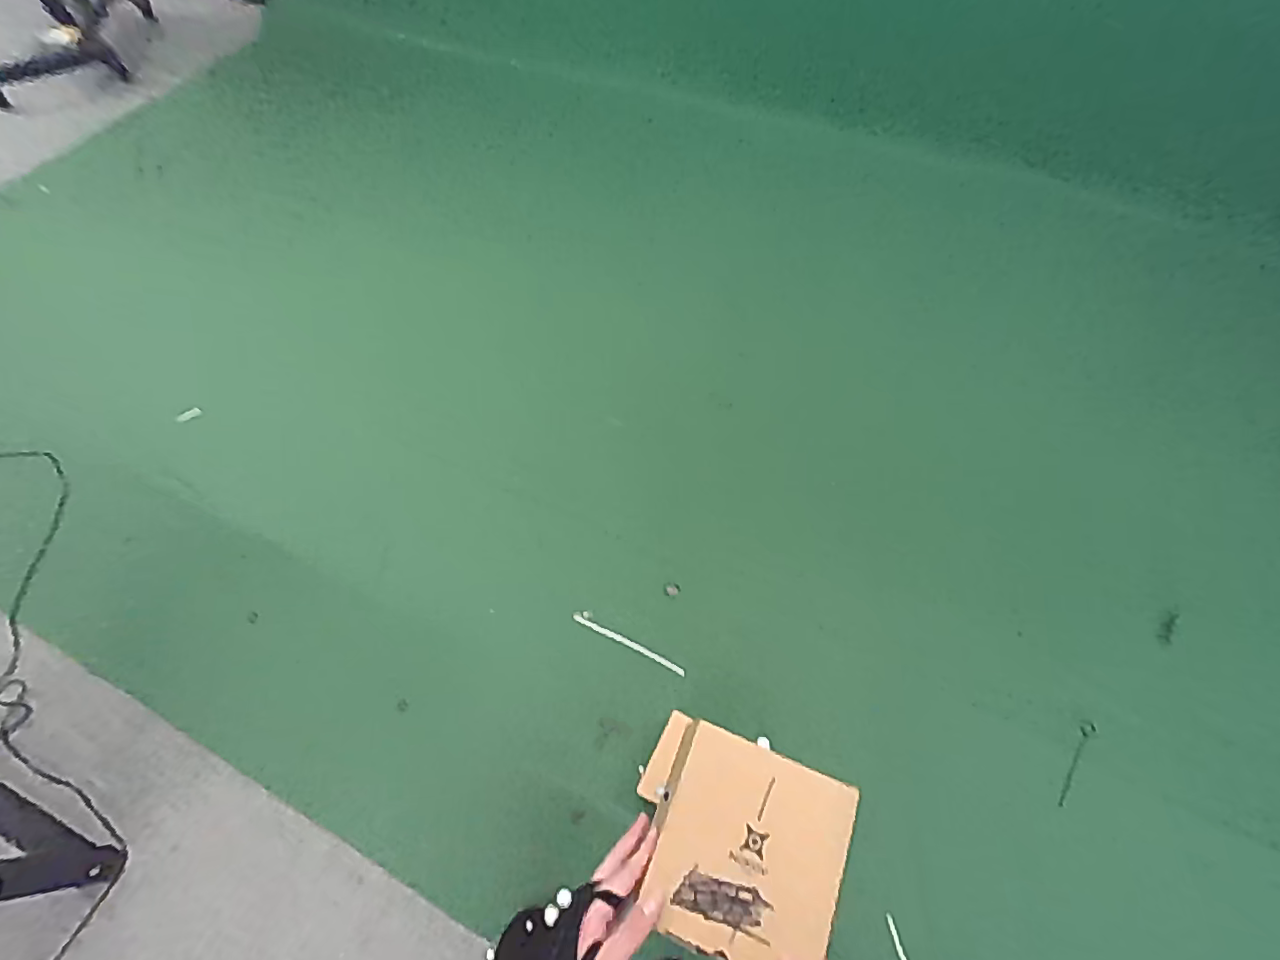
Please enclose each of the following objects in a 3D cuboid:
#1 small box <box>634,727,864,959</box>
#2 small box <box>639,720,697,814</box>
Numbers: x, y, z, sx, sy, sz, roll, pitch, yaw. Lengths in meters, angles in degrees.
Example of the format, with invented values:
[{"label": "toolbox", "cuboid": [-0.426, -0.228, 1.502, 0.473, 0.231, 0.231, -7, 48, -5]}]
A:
[{"label": "small box", "cuboid": [0.103, 0.380, 0.558, 0.168, 0.176, 0.179, 21, 64, 9]}, {"label": "small box", "cuboid": [0.106, 0.644, 1.157, 0.168, 0.176, 0.179, 24, 64, 13]}]
